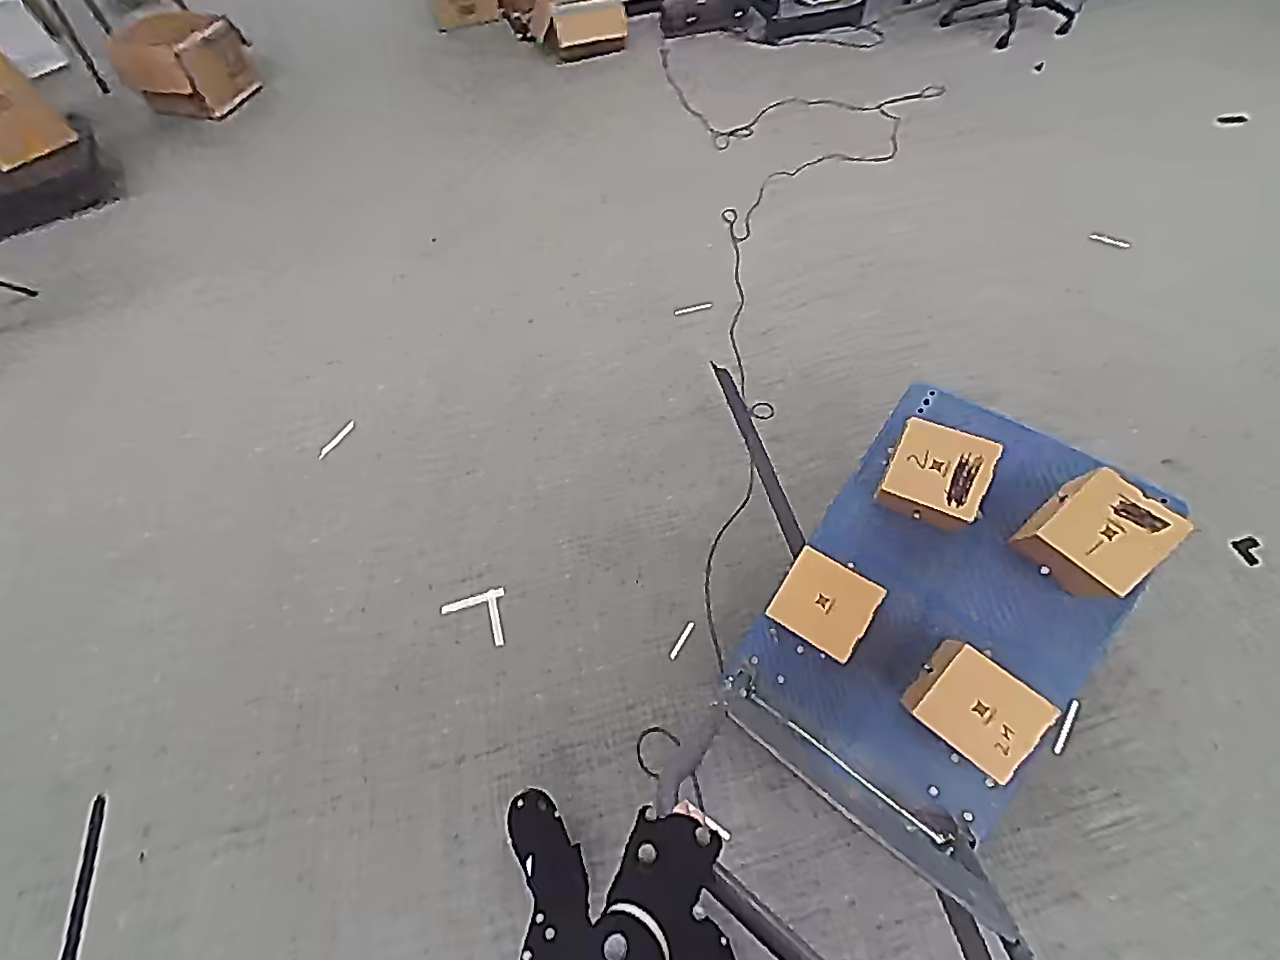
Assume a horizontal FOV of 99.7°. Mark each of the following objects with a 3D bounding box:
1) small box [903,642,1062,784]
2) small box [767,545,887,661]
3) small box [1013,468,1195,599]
[{"bbox_3d":[0.631,0.428,1.026,0.179,0.176,0.168,39,91,22],"label":"small box"},{"bbox_3d":[0.388,0.259,1.142,0.179,0.176,0.168,31,87,20],"label":"small box"},{"bbox_3d":[0.863,0.107,1.031,0.179,0.176,0.168,-46,69,3],"label":"small box"}]
